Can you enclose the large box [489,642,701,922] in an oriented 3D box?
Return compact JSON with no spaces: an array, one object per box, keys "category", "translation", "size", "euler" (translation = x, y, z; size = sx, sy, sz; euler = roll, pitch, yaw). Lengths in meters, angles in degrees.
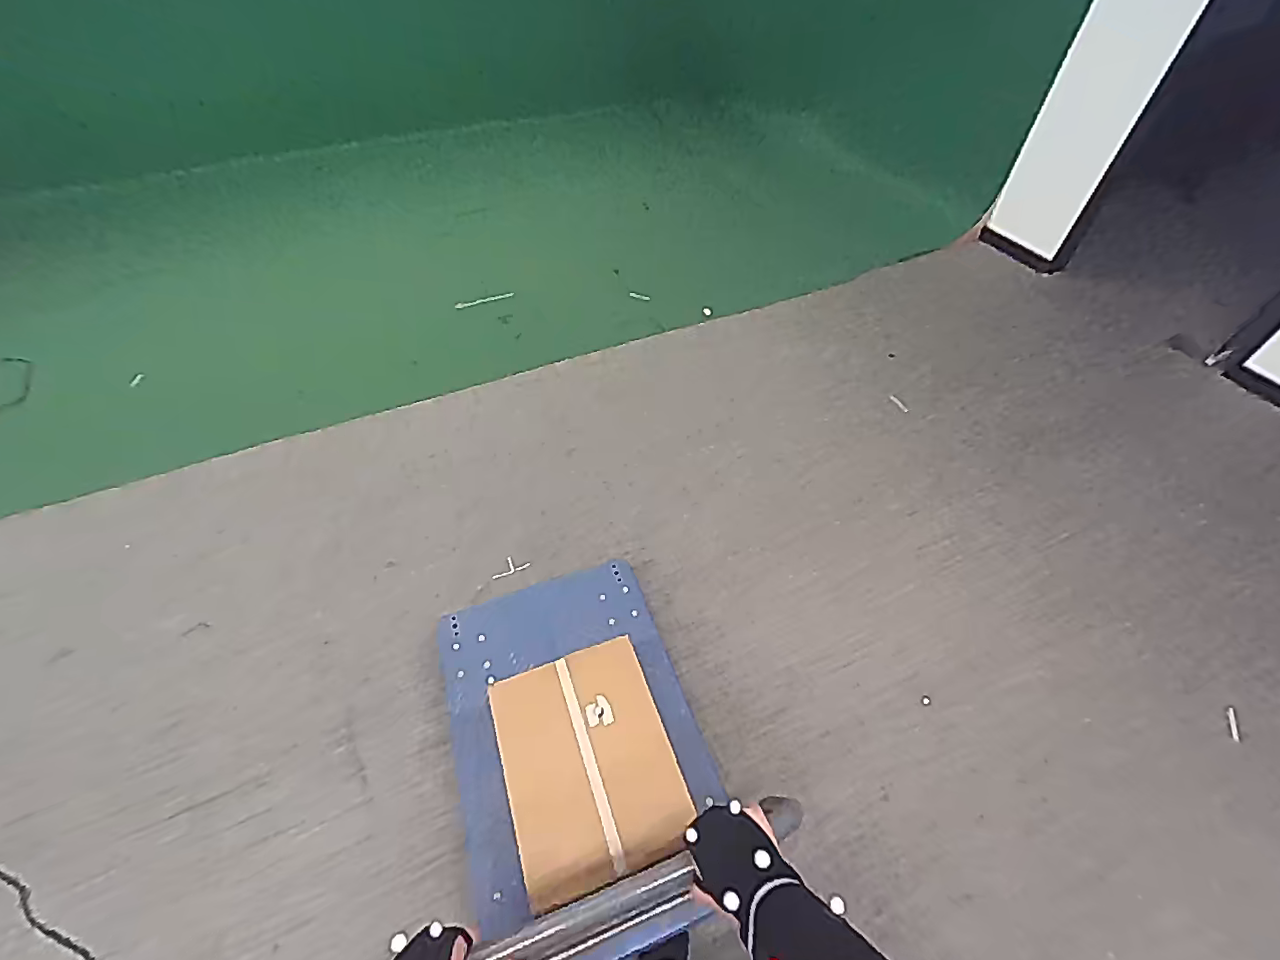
[{"category":"large box","translation":[-0.098,0.635,1.153],"size":[0.320,0.320,0.408],"euler":[-16,51,-13]}]
